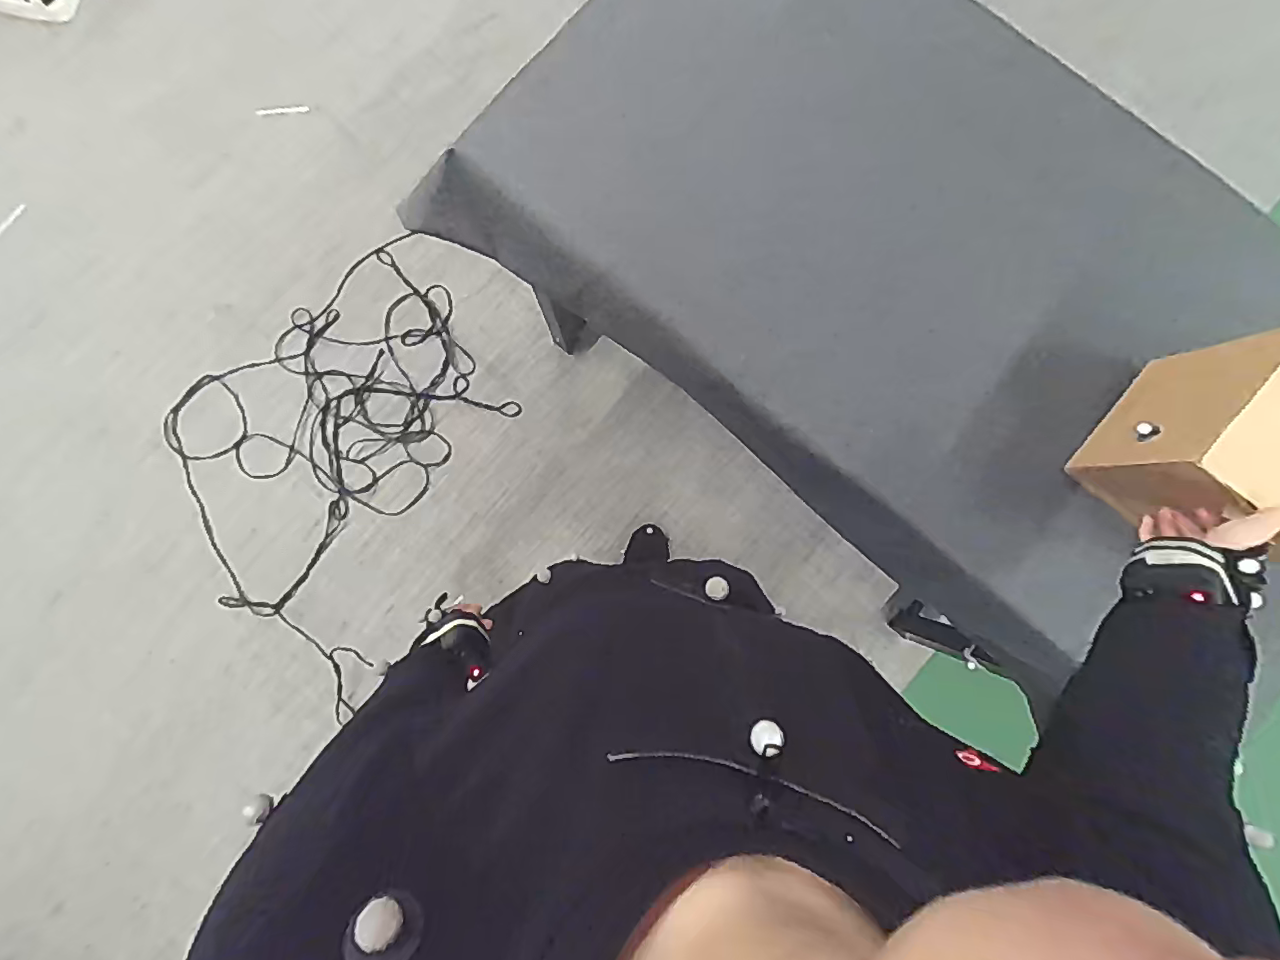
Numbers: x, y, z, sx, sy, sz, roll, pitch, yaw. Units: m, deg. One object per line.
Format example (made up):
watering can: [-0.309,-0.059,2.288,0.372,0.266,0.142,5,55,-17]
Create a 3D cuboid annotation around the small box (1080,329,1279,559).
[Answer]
small box: [0.631,-0.028,0.577,0.168,0.176,0.179,39,89,1]
